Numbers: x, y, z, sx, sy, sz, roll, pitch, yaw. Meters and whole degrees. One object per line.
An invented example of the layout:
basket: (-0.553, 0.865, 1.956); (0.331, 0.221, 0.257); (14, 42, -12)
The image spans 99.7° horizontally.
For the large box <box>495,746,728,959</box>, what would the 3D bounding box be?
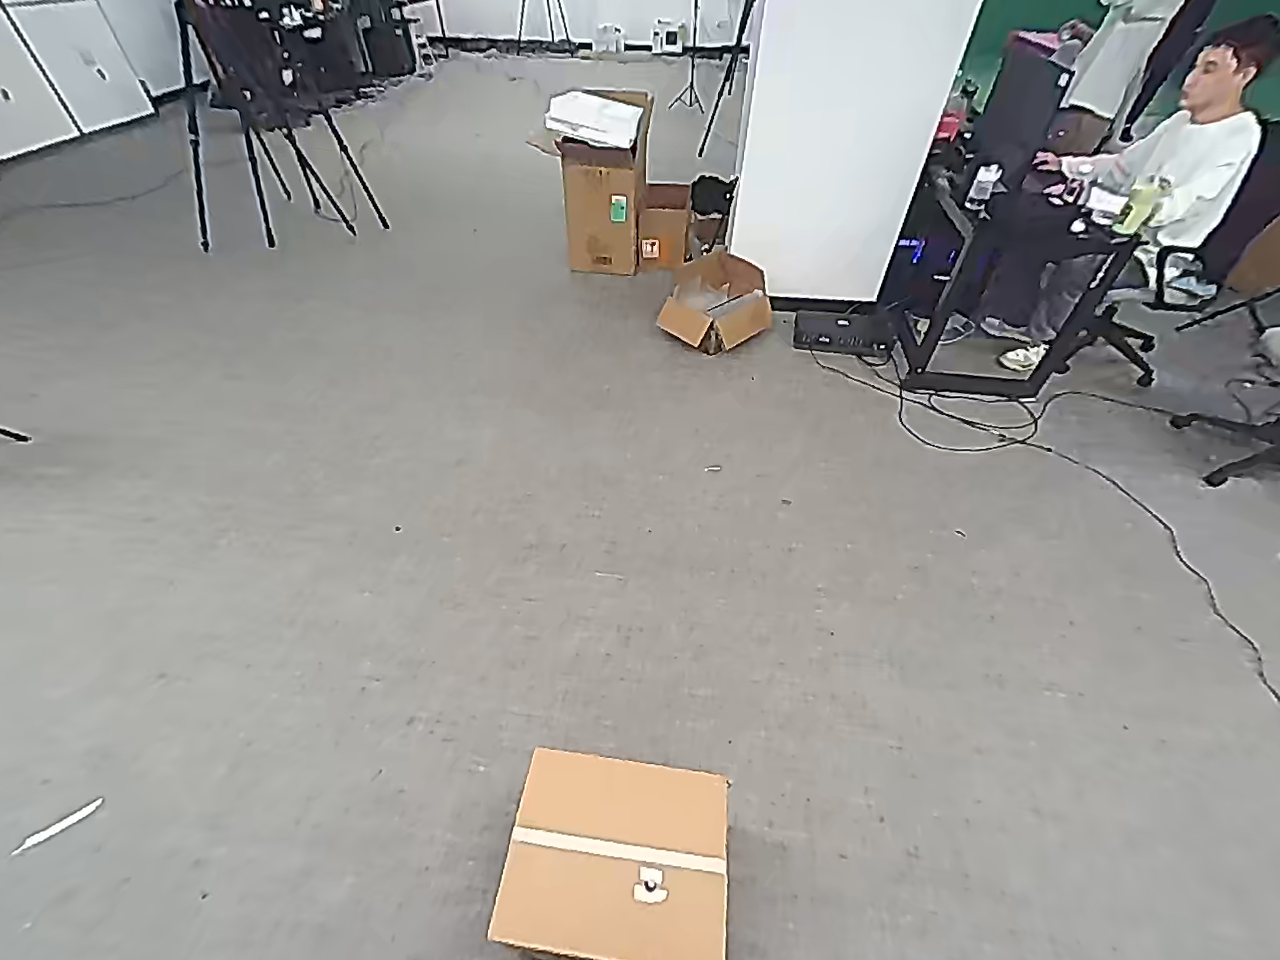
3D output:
large box: (-0.042, 0.788, 1.118); (0.408, 0.320, 0.320); (7, 46, 4)
